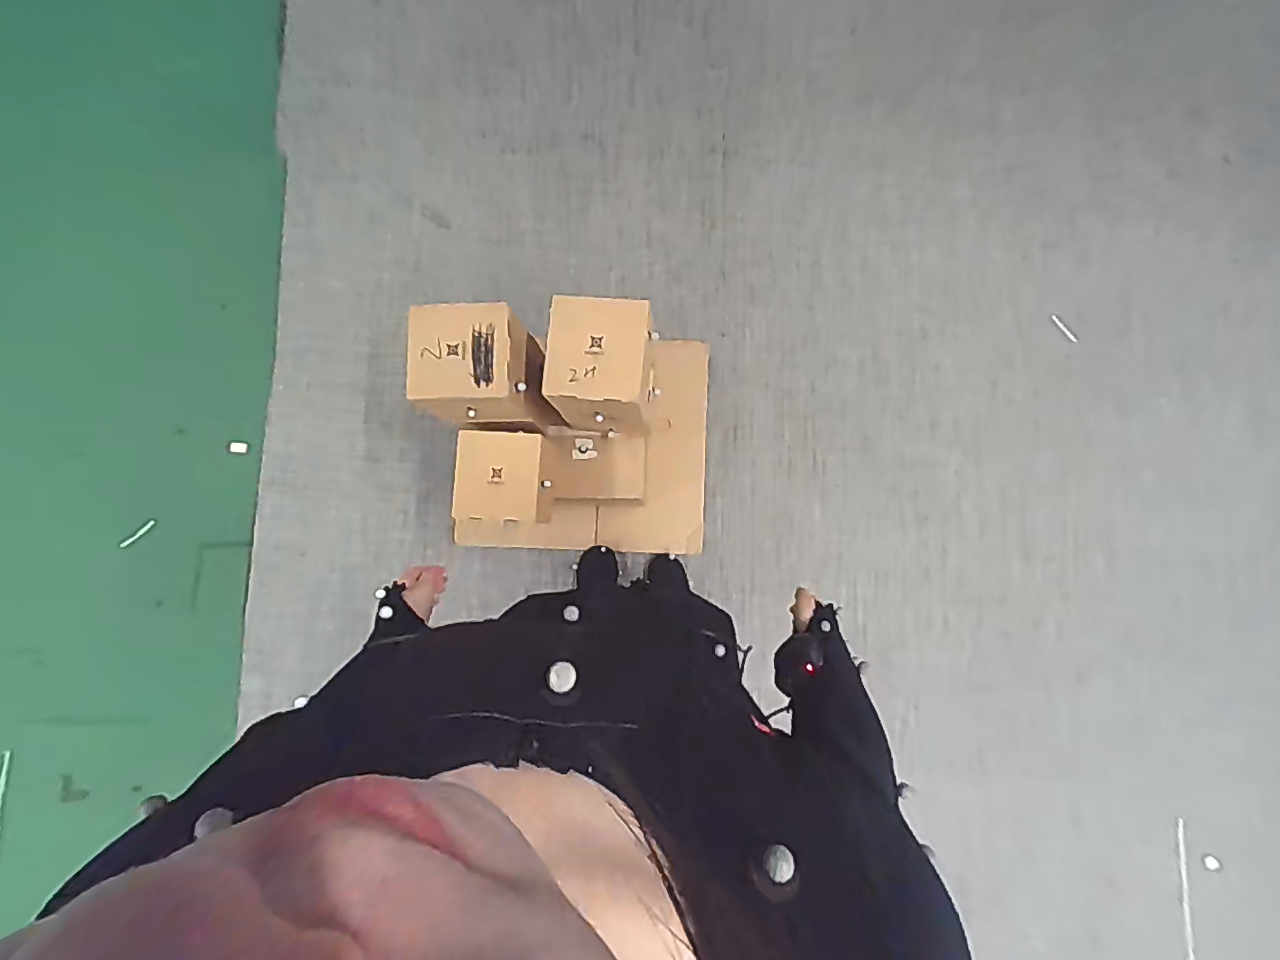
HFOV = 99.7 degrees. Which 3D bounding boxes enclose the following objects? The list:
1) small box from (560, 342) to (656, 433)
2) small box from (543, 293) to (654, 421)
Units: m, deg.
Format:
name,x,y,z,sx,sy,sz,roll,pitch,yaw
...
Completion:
name,x,y,z,sx,sy,sz,roll,pitch,yaw
small box,-0.059,-0.196,1.138,0.179,0.176,0.168,4,85,4
small box,-0.066,-0.214,0.972,0.168,0.176,0.179,5,85,5
